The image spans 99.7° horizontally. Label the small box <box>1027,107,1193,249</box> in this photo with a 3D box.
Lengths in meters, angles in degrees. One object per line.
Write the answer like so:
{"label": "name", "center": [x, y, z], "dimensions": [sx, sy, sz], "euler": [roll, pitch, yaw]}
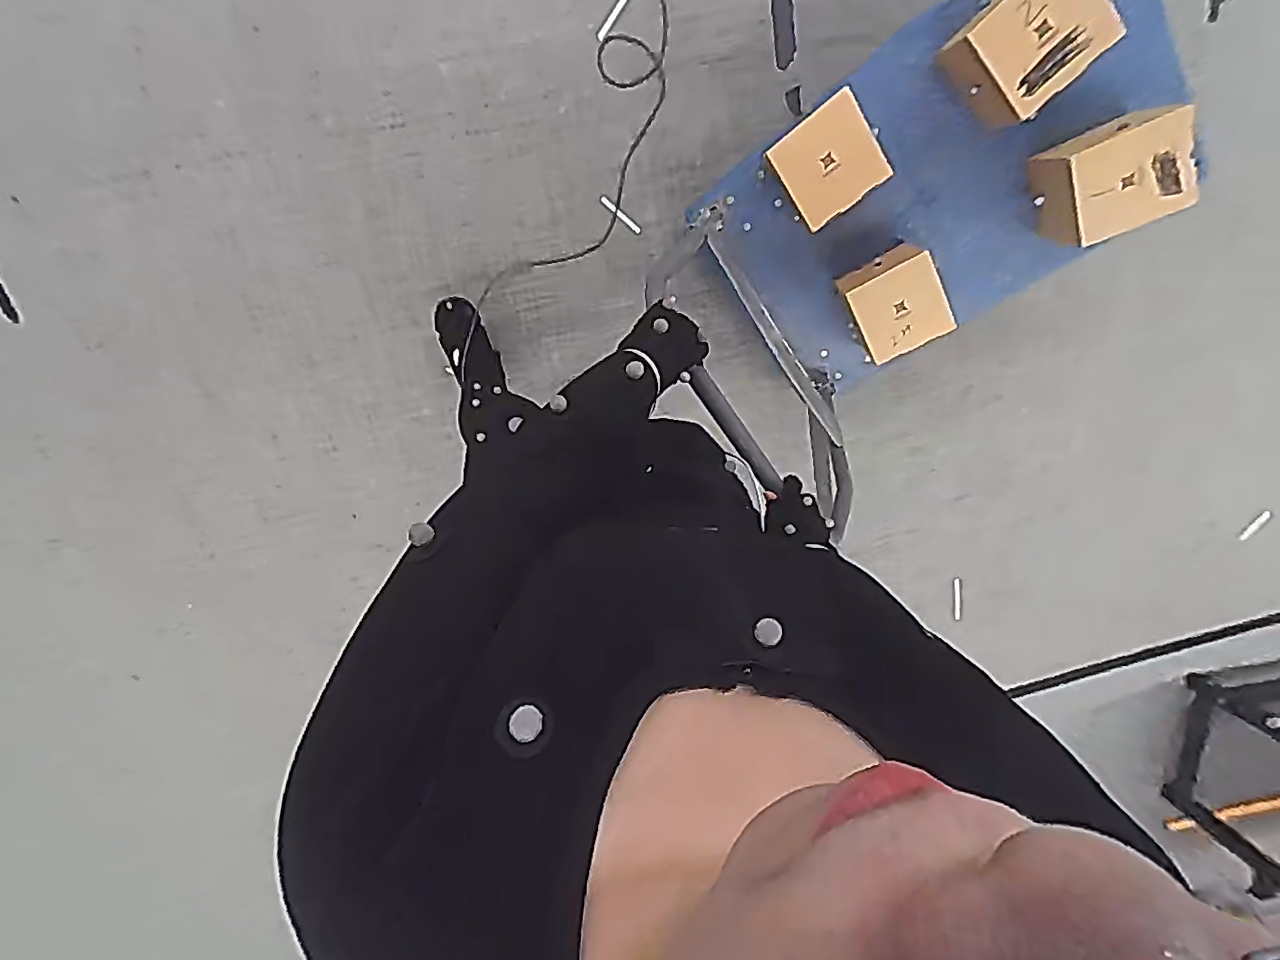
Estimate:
{"label": "small box", "center": [0.867, -0.558, 1.008], "dimensions": [0.179, 0.176, 0.168], "euler": [-19, 114, 20]}

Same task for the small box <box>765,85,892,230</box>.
{"label": "small box", "center": [0.360, -0.625, 1.066], "dimensions": [0.168, 0.176, 0.179], "euler": [-32, 110, 24]}

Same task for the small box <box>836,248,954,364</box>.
{"label": "small box", "center": [0.540, -0.382, 1.166], "dimensions": [0.168, 0.176, 0.179], "euler": [-25, 111, 22]}
